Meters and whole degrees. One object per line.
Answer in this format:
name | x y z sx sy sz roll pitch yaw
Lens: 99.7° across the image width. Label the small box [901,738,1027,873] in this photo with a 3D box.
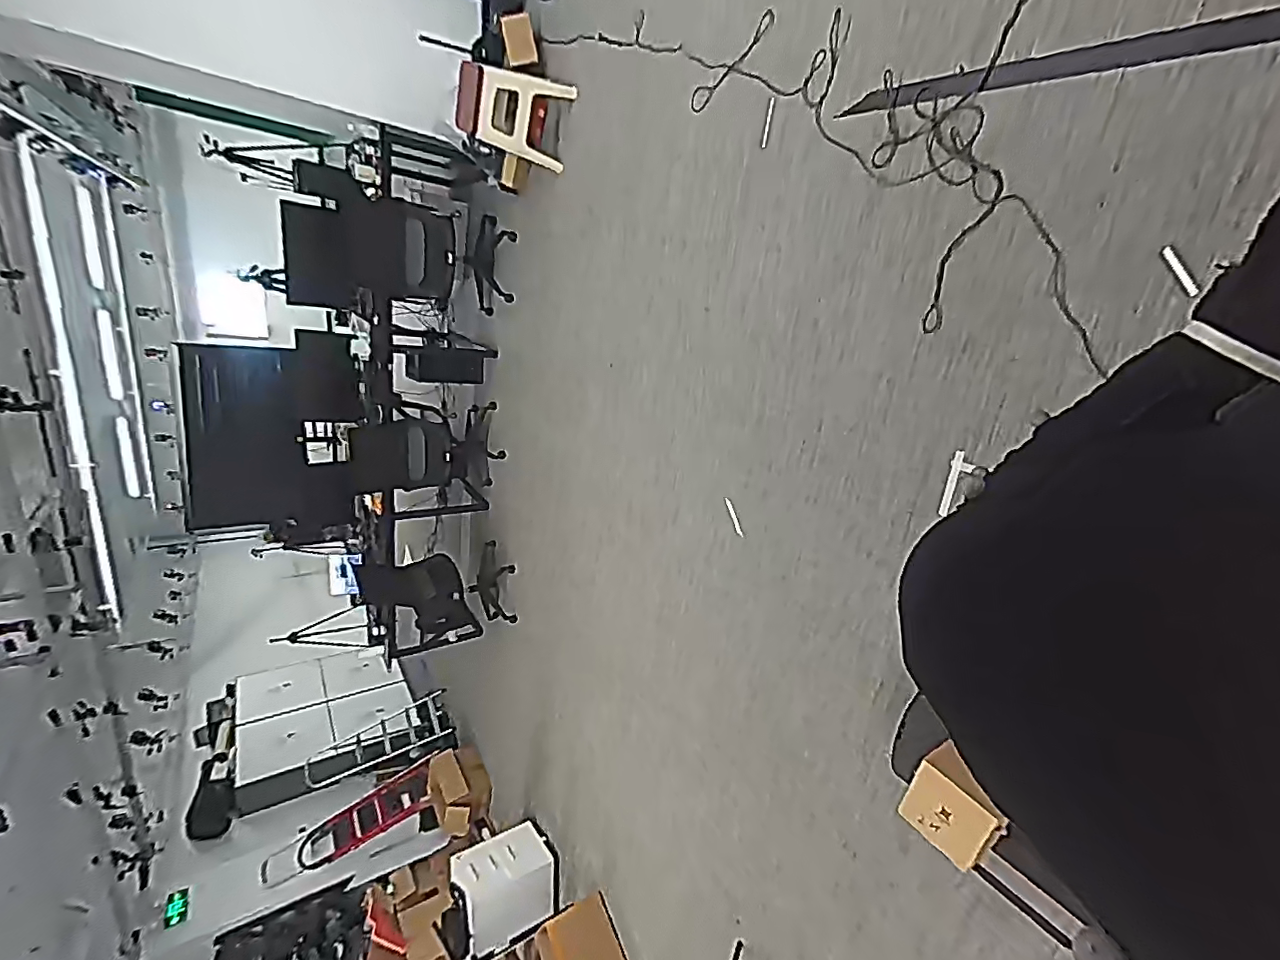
small box | 0.743 0.730 1.235 0.168 0.176 0.179 36 124 47
